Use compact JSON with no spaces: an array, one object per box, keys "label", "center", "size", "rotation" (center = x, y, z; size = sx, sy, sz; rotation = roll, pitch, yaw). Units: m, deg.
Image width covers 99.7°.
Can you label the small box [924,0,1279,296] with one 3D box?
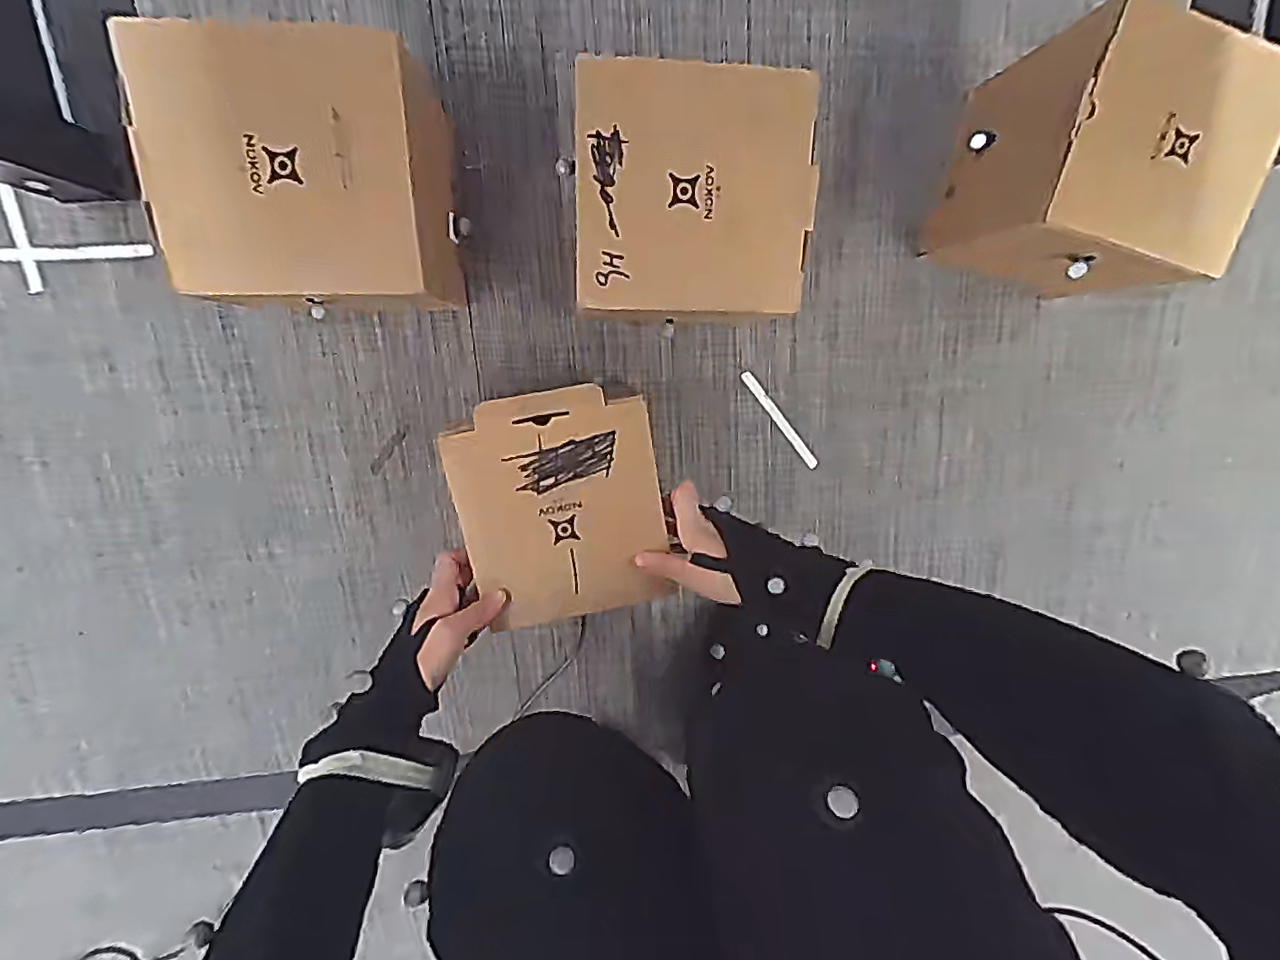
[{"label":"small box","center":[0.408,-0.274,0.495],"size":[0.179,0.176,0.168],"rotation":[13,102,-8]}]

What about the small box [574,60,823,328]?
[{"label":"small box","center":[0.032,-0.221,0.468],"size":[0.179,0.176,0.168],"rotation":[0,104,-6]}]

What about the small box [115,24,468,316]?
[{"label":"small box","center":[-0.250,-0.223,0.439],"size":[0.179,0.176,0.168],"rotation":[-2,104,-7]}]

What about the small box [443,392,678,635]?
[{"label":"small box","center":[-0.068,0.016,0.515],"size":[0.168,0.176,0.179],"rotation":[-11,106,-3]}]
